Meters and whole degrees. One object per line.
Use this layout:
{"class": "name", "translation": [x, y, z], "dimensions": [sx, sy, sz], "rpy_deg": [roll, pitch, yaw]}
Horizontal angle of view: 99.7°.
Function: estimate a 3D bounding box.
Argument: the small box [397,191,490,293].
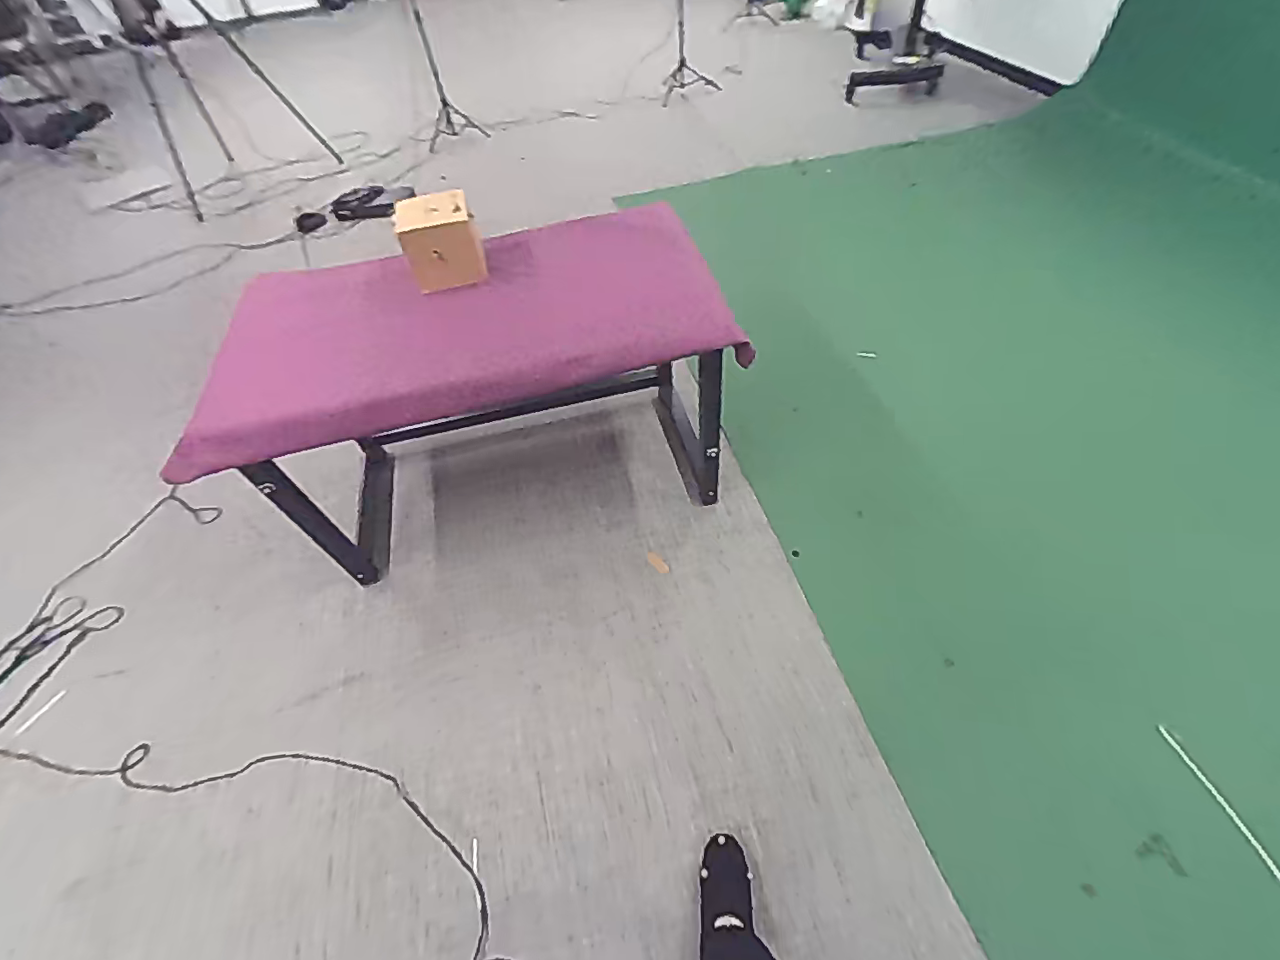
{"class": "small box", "translation": [-0.500, -0.606, 1.388], "dimensions": [0.179, 0.176, 0.168], "rpy_deg": [-14, 54, -4]}
